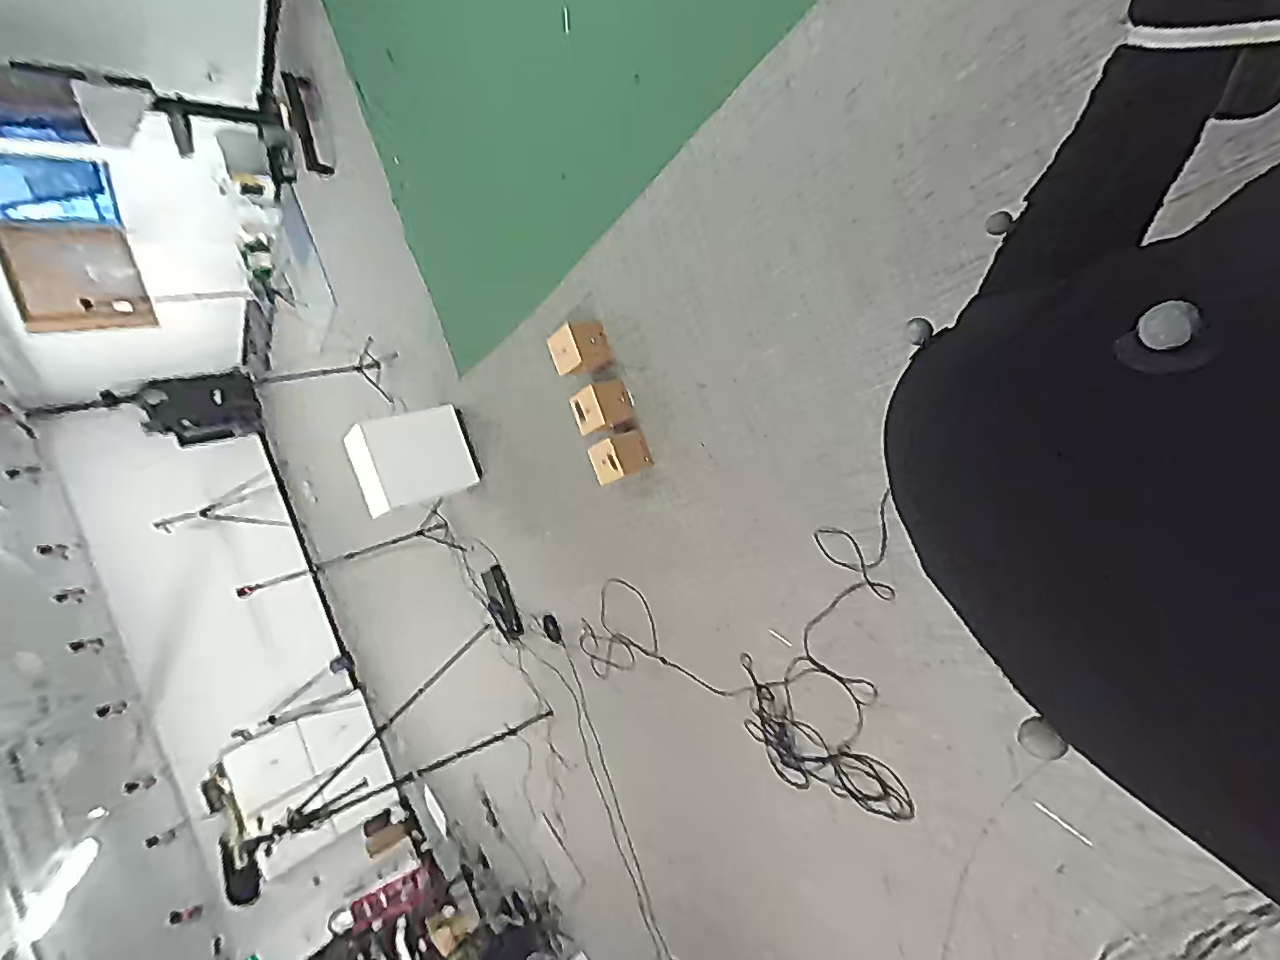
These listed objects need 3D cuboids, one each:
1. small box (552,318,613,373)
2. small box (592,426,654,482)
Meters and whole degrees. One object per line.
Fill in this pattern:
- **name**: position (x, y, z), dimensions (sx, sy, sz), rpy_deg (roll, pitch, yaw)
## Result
- **small box**: position (-0.230, -0.561, 2.244), dimensions (0.179, 0.176, 0.168), rpy_deg (-21, 89, 50)
- **small box**: position (-0.064, -0.110, 2.236), dimensions (0.179, 0.176, 0.168), rpy_deg (-23, 88, 51)
